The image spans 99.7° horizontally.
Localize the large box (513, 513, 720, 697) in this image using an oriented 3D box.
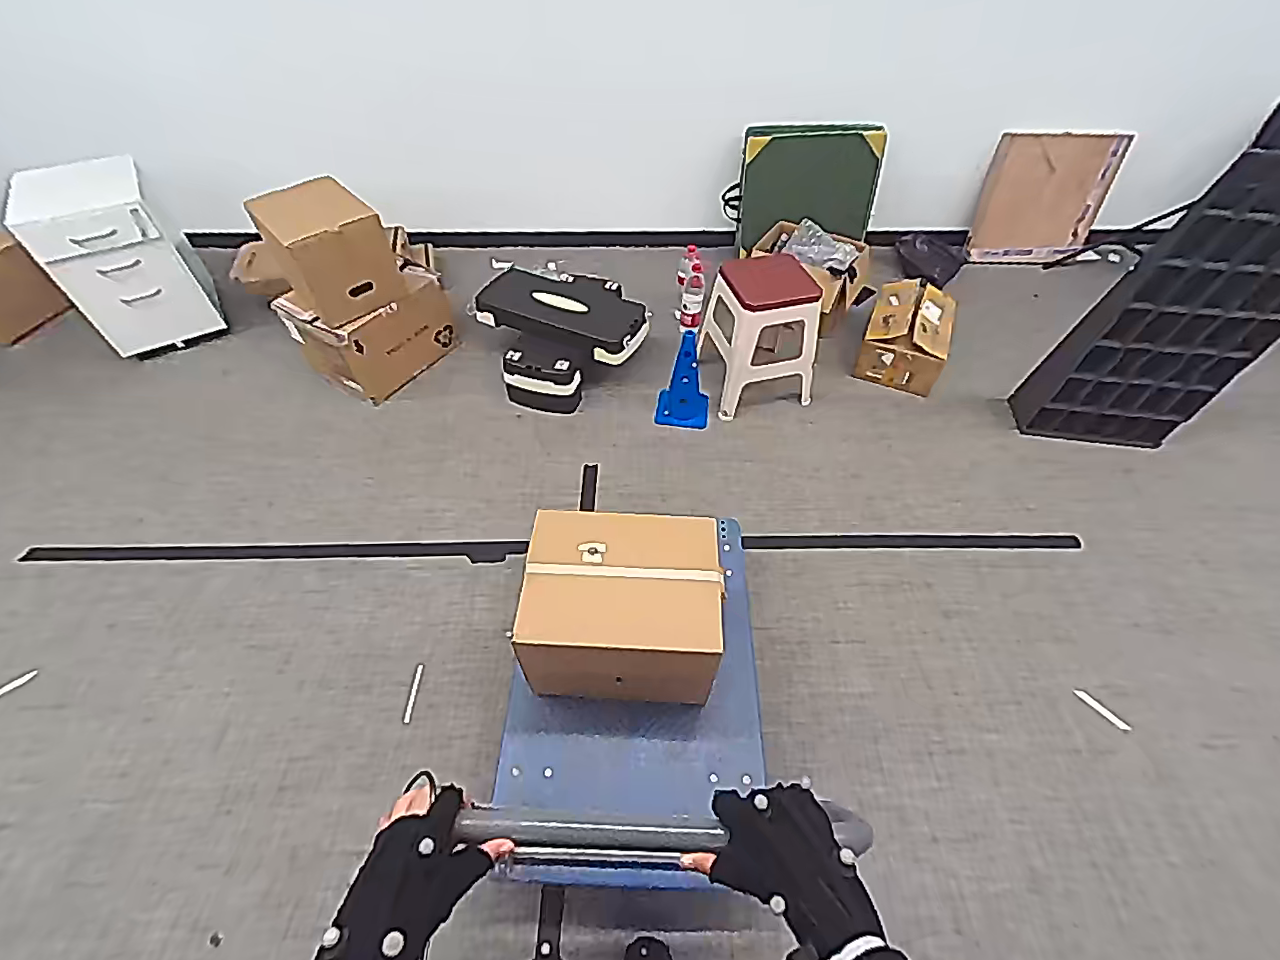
[{"bbox_3d":[-0.039,0.291,1.238,0.408,0.320,0.320,3,51,2],"label":"large box"}]
